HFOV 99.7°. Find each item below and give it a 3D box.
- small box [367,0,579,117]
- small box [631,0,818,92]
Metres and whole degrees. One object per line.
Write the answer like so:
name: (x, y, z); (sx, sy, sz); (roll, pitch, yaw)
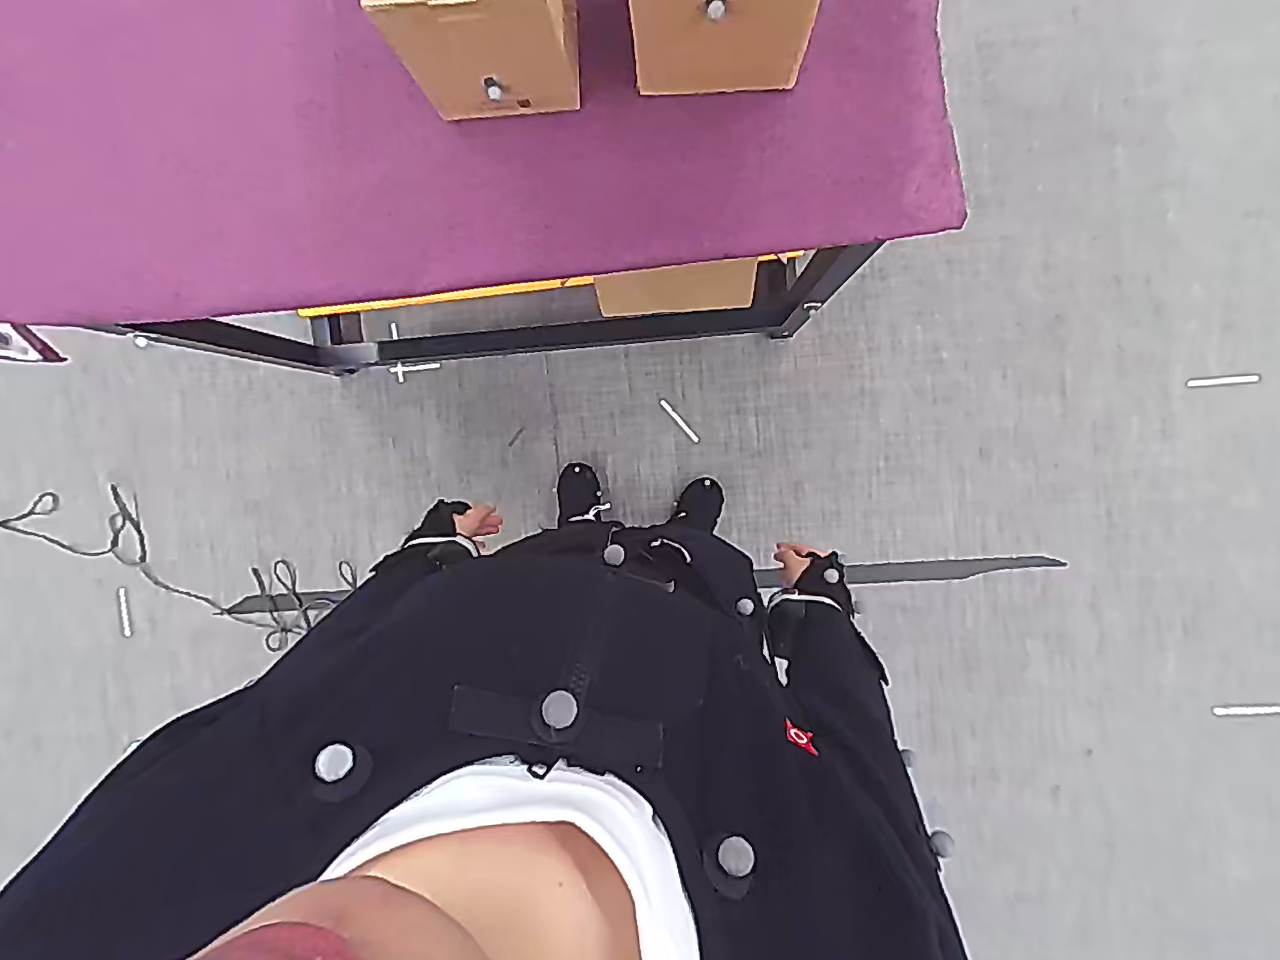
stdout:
small box: (-0.158, -0.507, 0.543); (0.168, 0.176, 0.179); (-1, 93, 5)
small box: (0.083, -0.516, 0.527); (0.179, 0.176, 0.168); (1, 93, 5)
